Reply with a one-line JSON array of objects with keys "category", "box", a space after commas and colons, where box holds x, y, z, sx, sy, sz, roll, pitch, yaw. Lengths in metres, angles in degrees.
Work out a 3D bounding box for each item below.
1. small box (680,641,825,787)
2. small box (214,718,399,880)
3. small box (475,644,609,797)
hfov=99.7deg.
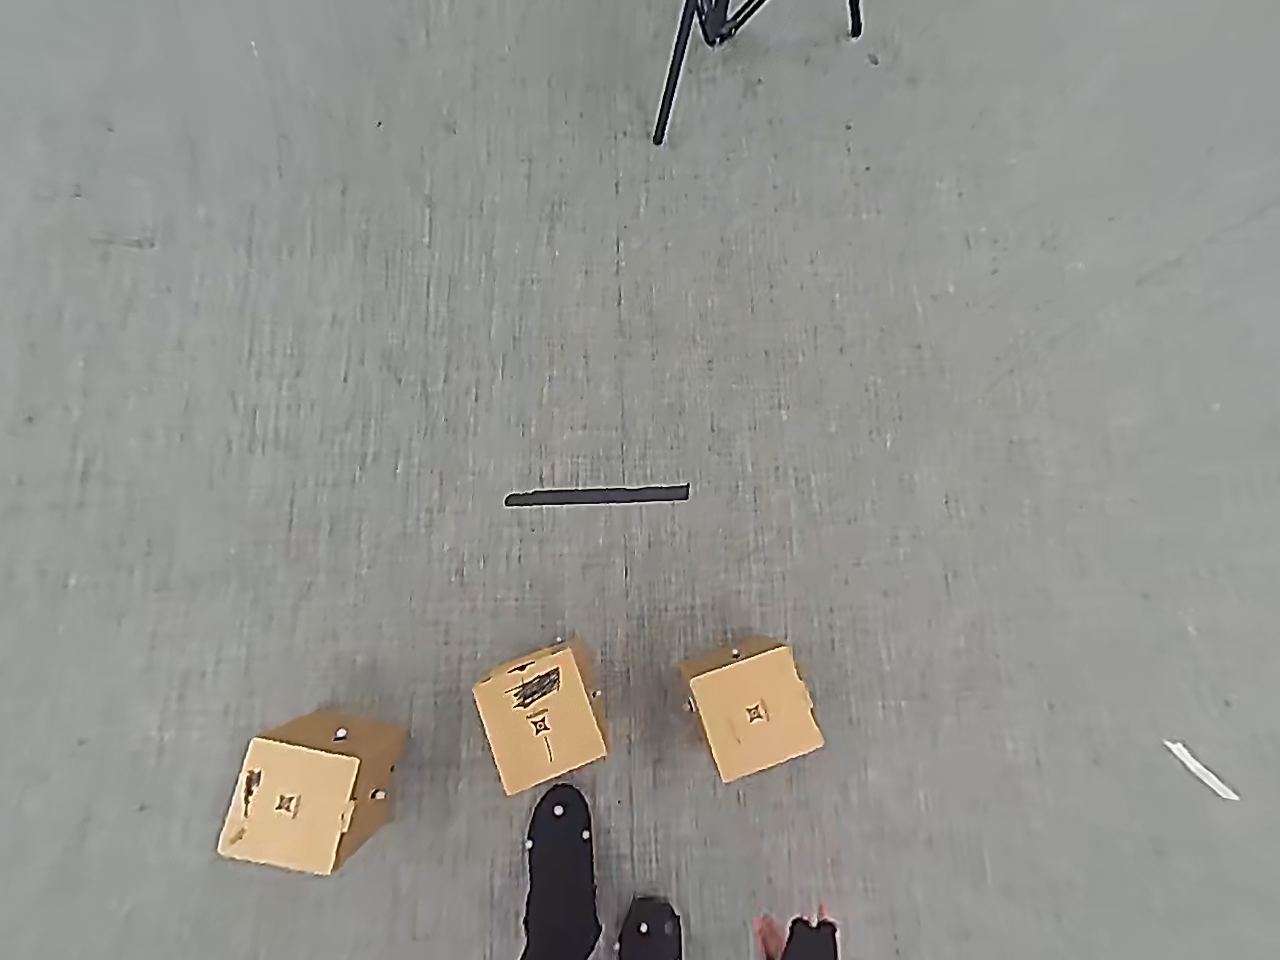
[{"category": "small box", "box": [0.182, 0.386, 0.930, 0.179, 0.176, 0.168, -19, 79, -5]}, {"category": "small box", "box": [-0.520, 0.501, 0.876, 0.179, 0.176, 0.168, 12, 78, 0]}, {"category": "small box", "box": [-0.158, 0.388, 0.912, 0.168, 0.176, 0.179, -20, 81, -6]}]
